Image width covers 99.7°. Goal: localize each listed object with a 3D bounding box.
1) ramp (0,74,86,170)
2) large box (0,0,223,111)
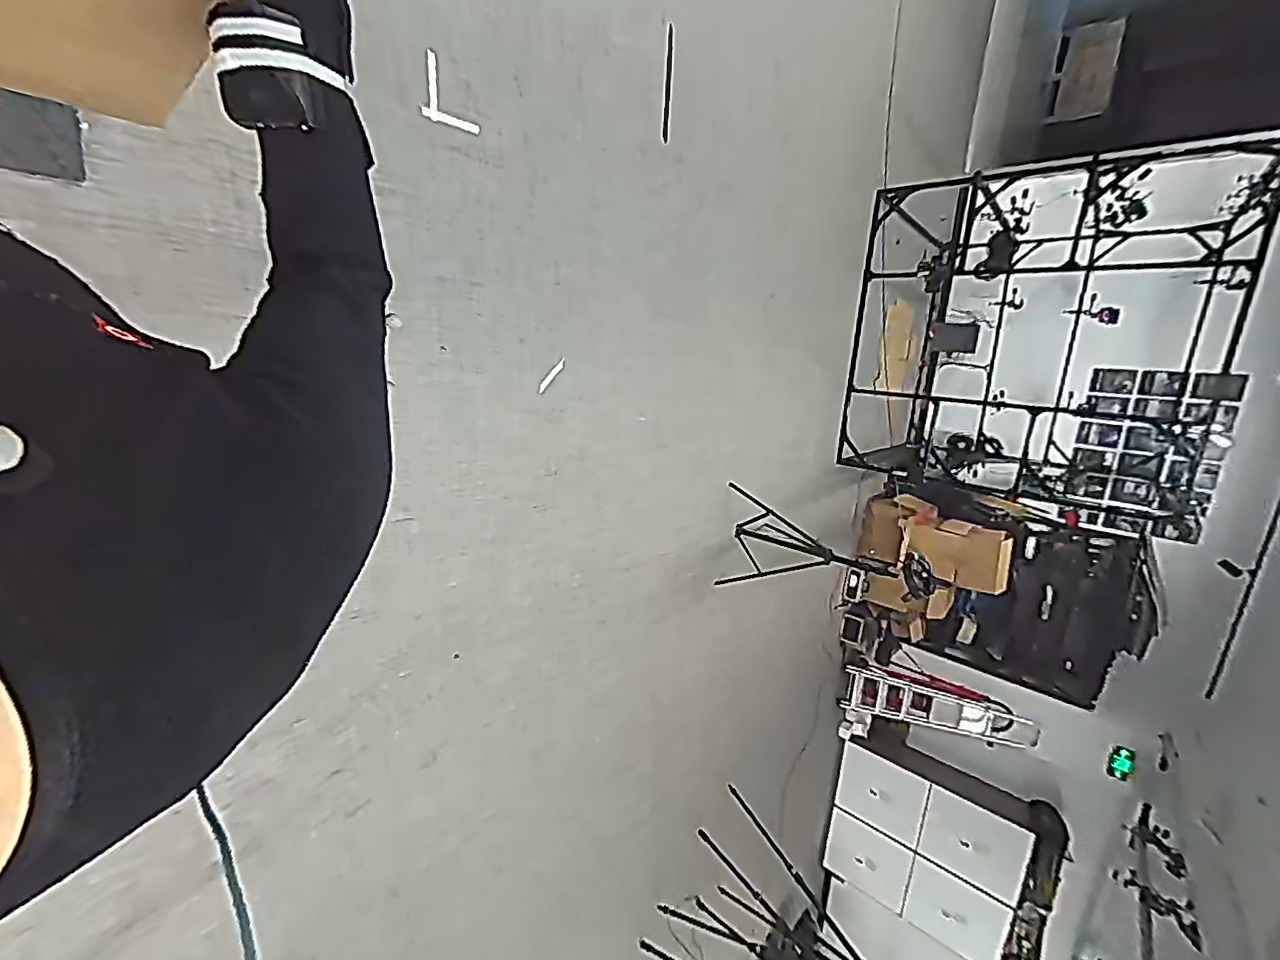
[{"bbox_3d":[-1.086,-0.993,0.656,0.509,0.206,0.991,-15,113,-49],"label":"ramp"},{"bbox_3d":[-0.487,-0.456,0.257,0.408,0.320,0.320,-13,107,-49],"label":"large box"}]
